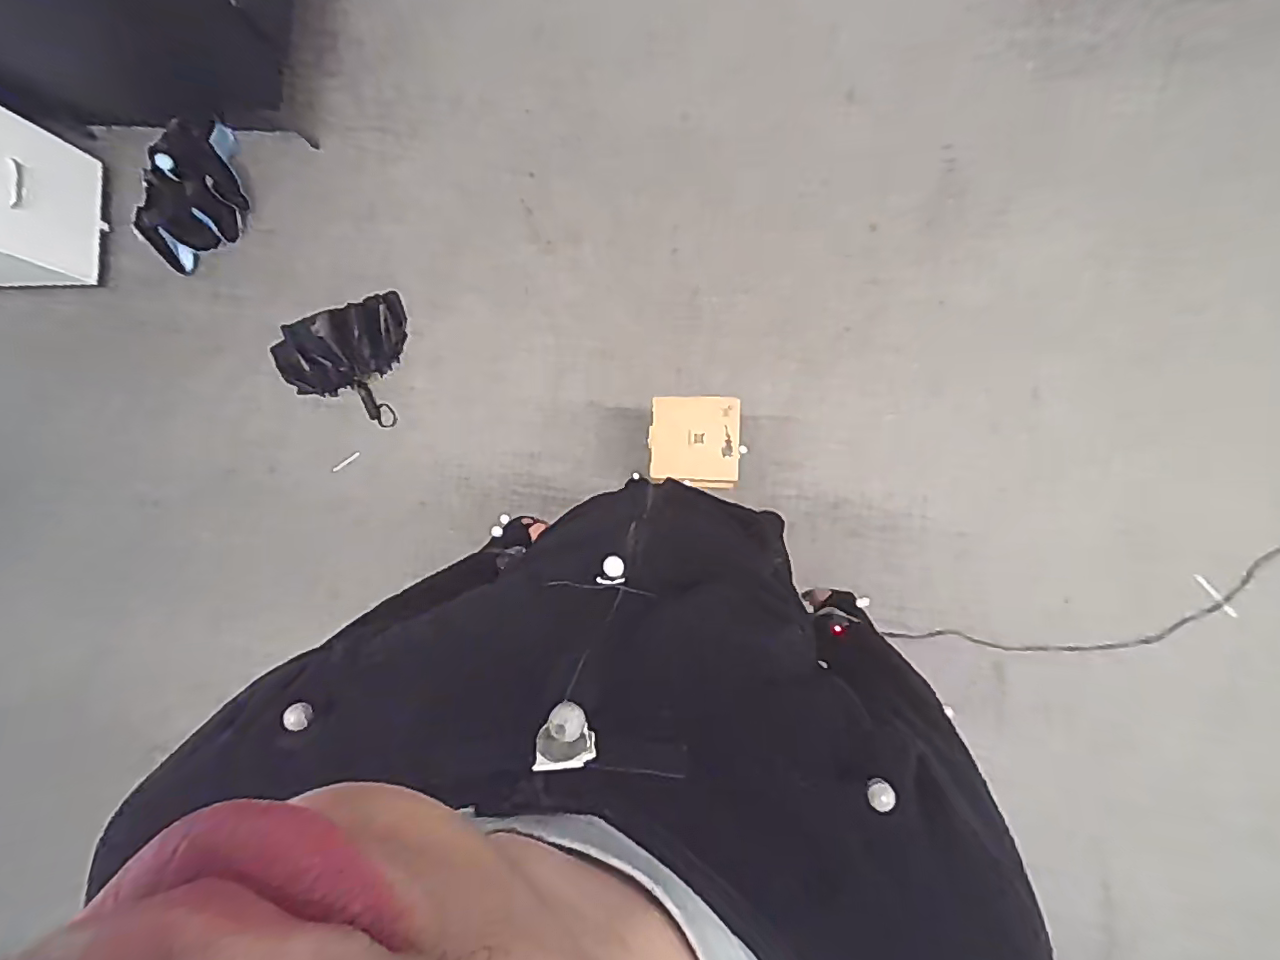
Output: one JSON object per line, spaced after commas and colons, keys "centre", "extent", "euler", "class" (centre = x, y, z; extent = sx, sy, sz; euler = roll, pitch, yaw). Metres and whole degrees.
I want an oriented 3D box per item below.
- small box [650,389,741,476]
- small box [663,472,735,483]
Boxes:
{"centre": [0.122, -0.095, 1.146], "extent": [0.179, 0.176, 0.168], "euler": [2, 89, 9], "class": "small box"}
{"centre": [0.148, -0.085, 1.307], "extent": [0.168, 0.176, 0.179], "euler": [2, 90, 9], "class": "small box"}
